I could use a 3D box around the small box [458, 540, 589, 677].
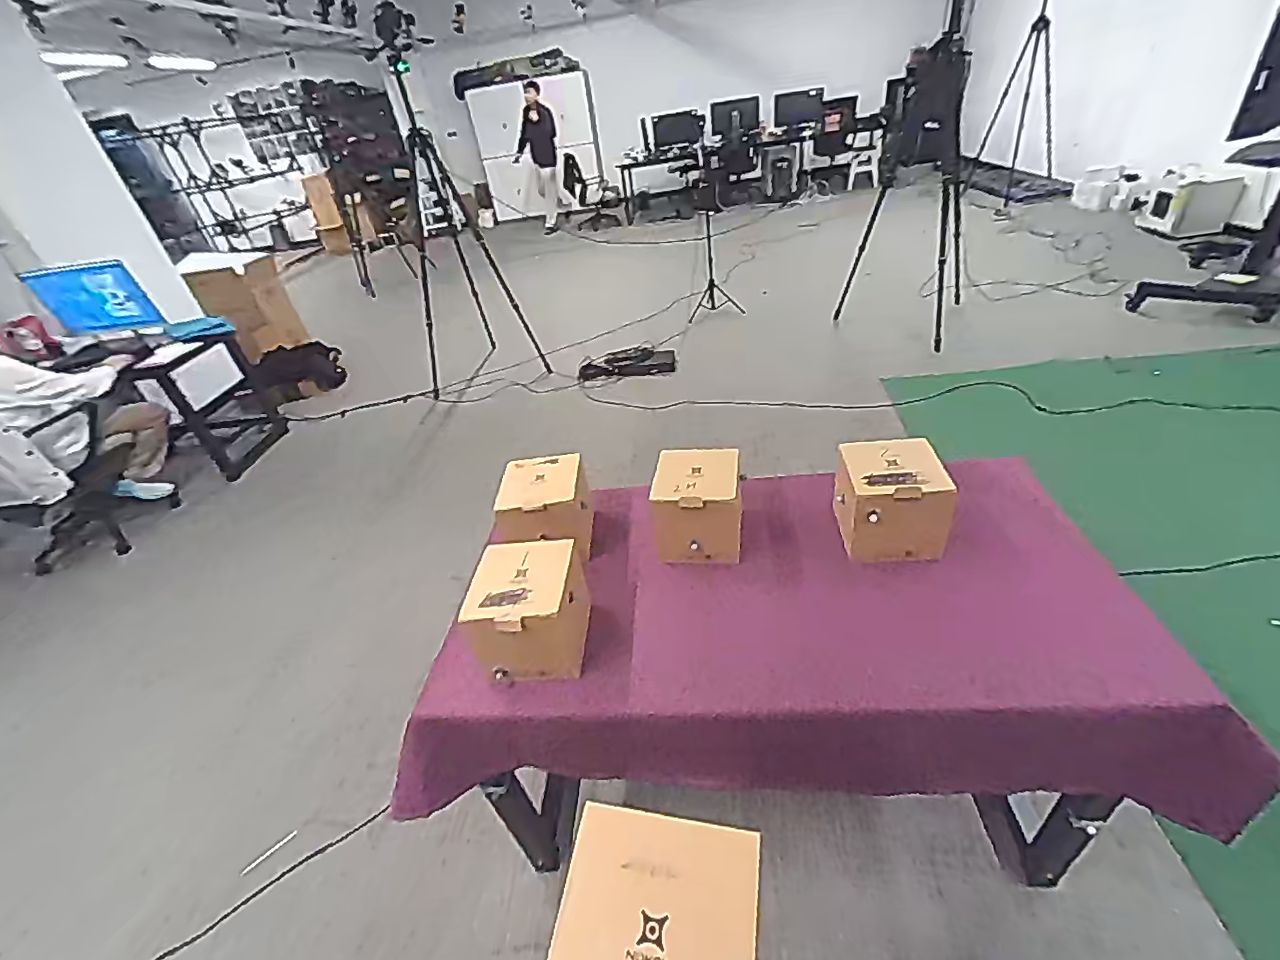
[{"bbox_3d":[-0.191,0.230,0.952,0.168,0.176,0.179,-5,35,7],"label":"small box"}]

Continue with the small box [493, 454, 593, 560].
[{"bbox_3d":[-0.201,0.067,1.179,0.168,0.176,0.179,-7,37,4],"label":"small box"}]

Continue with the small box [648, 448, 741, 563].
[{"bbox_3d":[0.120,0.050,1.119,0.168,0.176,0.179,-1,37,14],"label":"small box"}]

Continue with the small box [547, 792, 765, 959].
[{"bbox_3d":[0.025,0.422,0.499,0.168,0.176,0.179,2,45,16],"label":"small box"}]
